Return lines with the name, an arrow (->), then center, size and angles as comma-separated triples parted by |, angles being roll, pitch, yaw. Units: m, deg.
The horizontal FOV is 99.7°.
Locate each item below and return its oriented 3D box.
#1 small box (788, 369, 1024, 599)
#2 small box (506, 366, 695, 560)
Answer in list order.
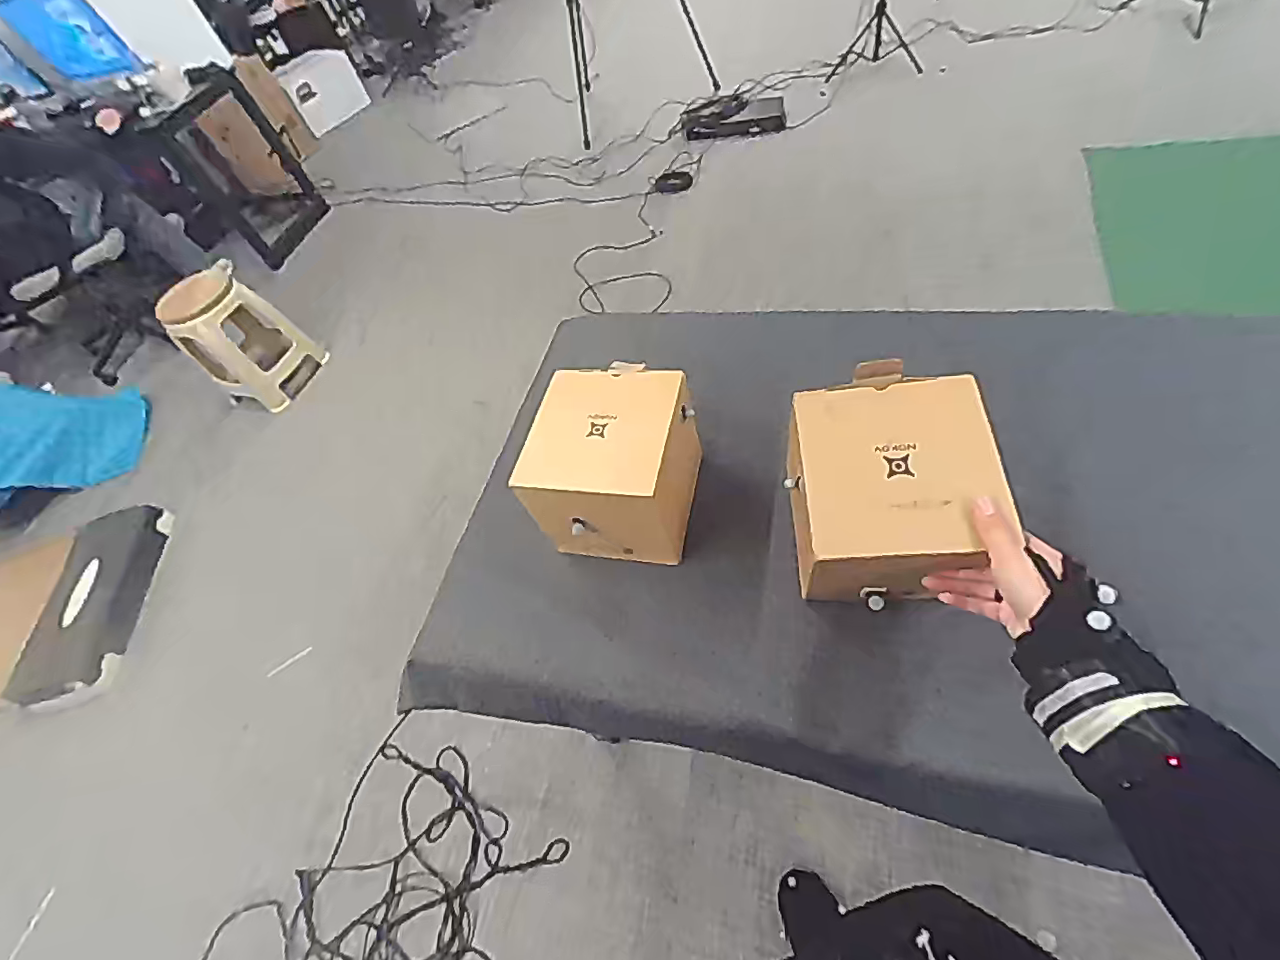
small box -> 0.244, 0.014, 0.551 | 0.168, 0.176, 0.179 | -5, 65, 12
small box -> -0.032, -0.018, 0.662 | 0.168, 0.176, 0.179 | 3, 56, 17
